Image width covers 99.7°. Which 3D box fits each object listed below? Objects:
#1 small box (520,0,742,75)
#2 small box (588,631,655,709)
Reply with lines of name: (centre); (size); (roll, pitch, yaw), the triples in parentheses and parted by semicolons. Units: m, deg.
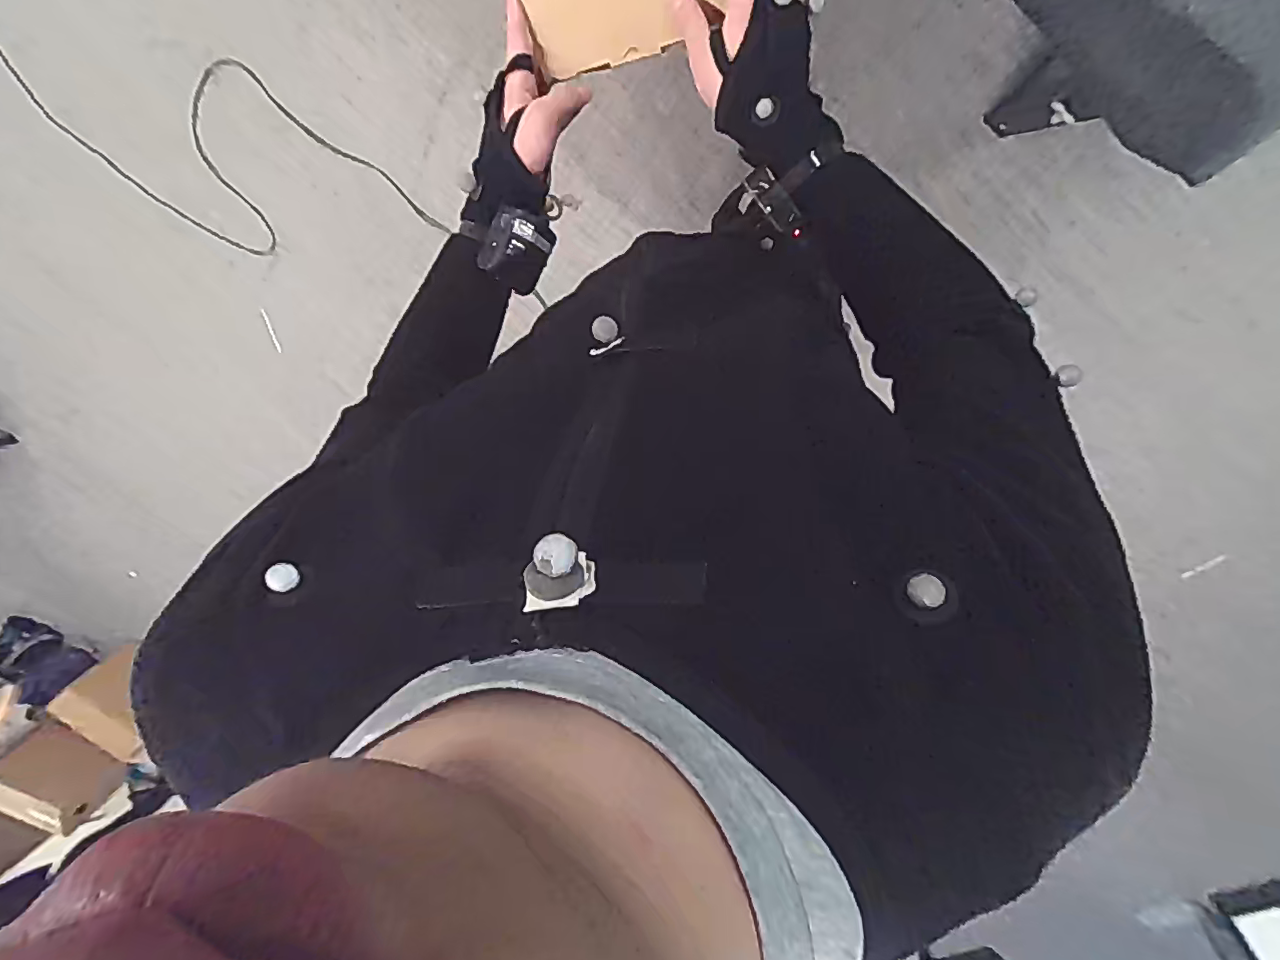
small box: (-0.009, -0.460, 0.430); (0.168, 0.176, 0.179); (-3, 131, 19)
small box: (-0.061, 0.682, 1.957); (0.168, 0.176, 0.179); (38, 118, -9)
